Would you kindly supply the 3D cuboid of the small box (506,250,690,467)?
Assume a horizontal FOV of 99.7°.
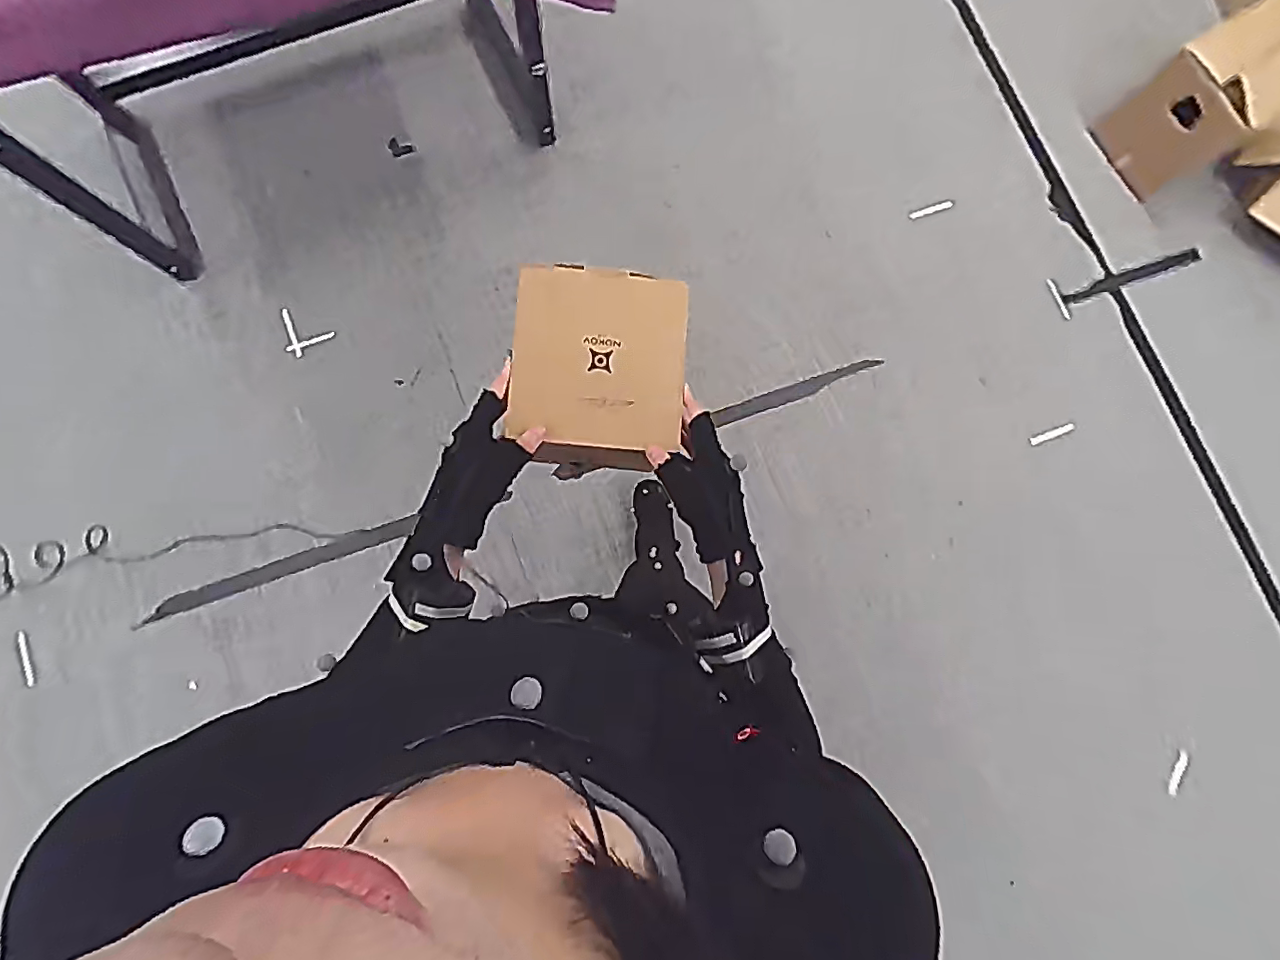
[{"bbox_3d":[-0.048,-0.116,0.587,0.168,0.176,0.179,4,84,-8],"label":"small box"}]
